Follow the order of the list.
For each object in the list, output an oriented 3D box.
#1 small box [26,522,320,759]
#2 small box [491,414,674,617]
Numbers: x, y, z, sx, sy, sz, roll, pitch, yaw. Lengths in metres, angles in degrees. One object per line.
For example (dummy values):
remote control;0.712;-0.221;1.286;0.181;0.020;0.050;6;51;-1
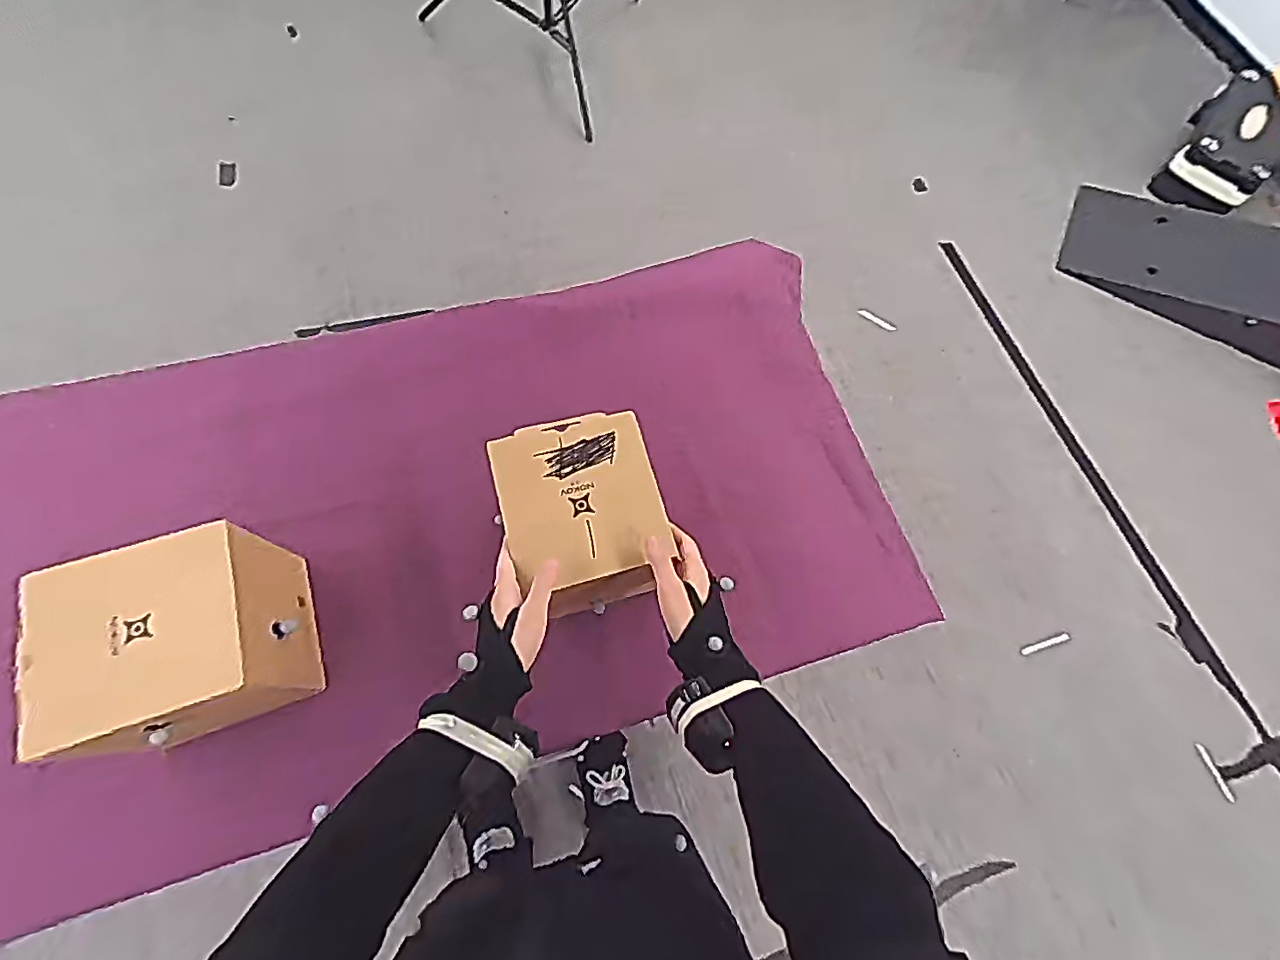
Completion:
small box;-0.462;0.164;0.565;0.179;0.176;0.168;-18;71;-11
small box;-0.071;0.049;0.642;0.168;0.176;0.179;-13;70;-10
